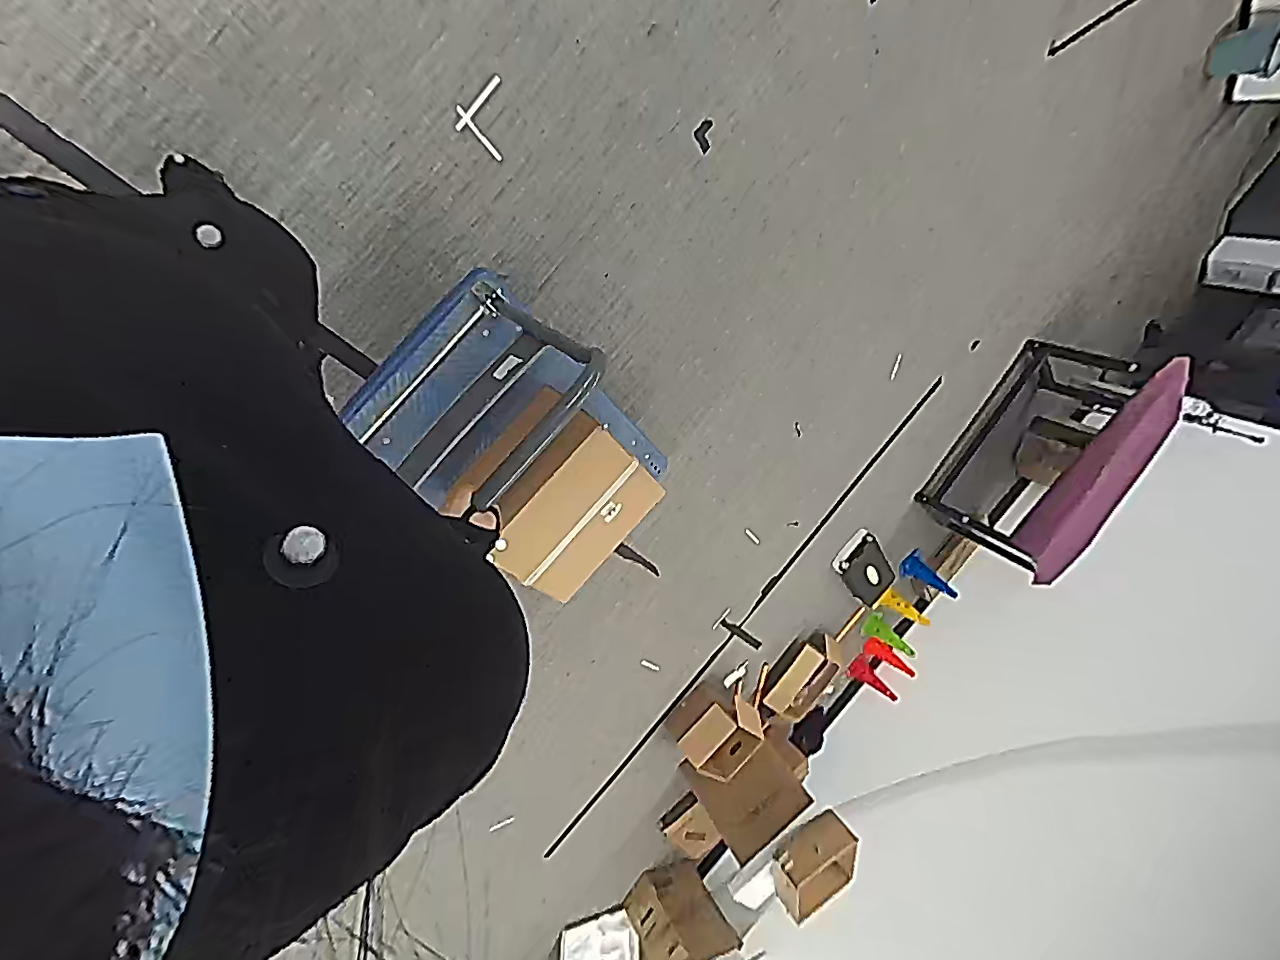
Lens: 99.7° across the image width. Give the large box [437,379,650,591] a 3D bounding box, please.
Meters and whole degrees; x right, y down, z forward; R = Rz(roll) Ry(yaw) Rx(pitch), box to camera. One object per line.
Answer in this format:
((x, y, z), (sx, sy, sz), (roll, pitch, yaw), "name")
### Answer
((-0.258, 0.008, 1.436), (0.408, 0.320, 0.320), (-49, 134, -3), "large box")
